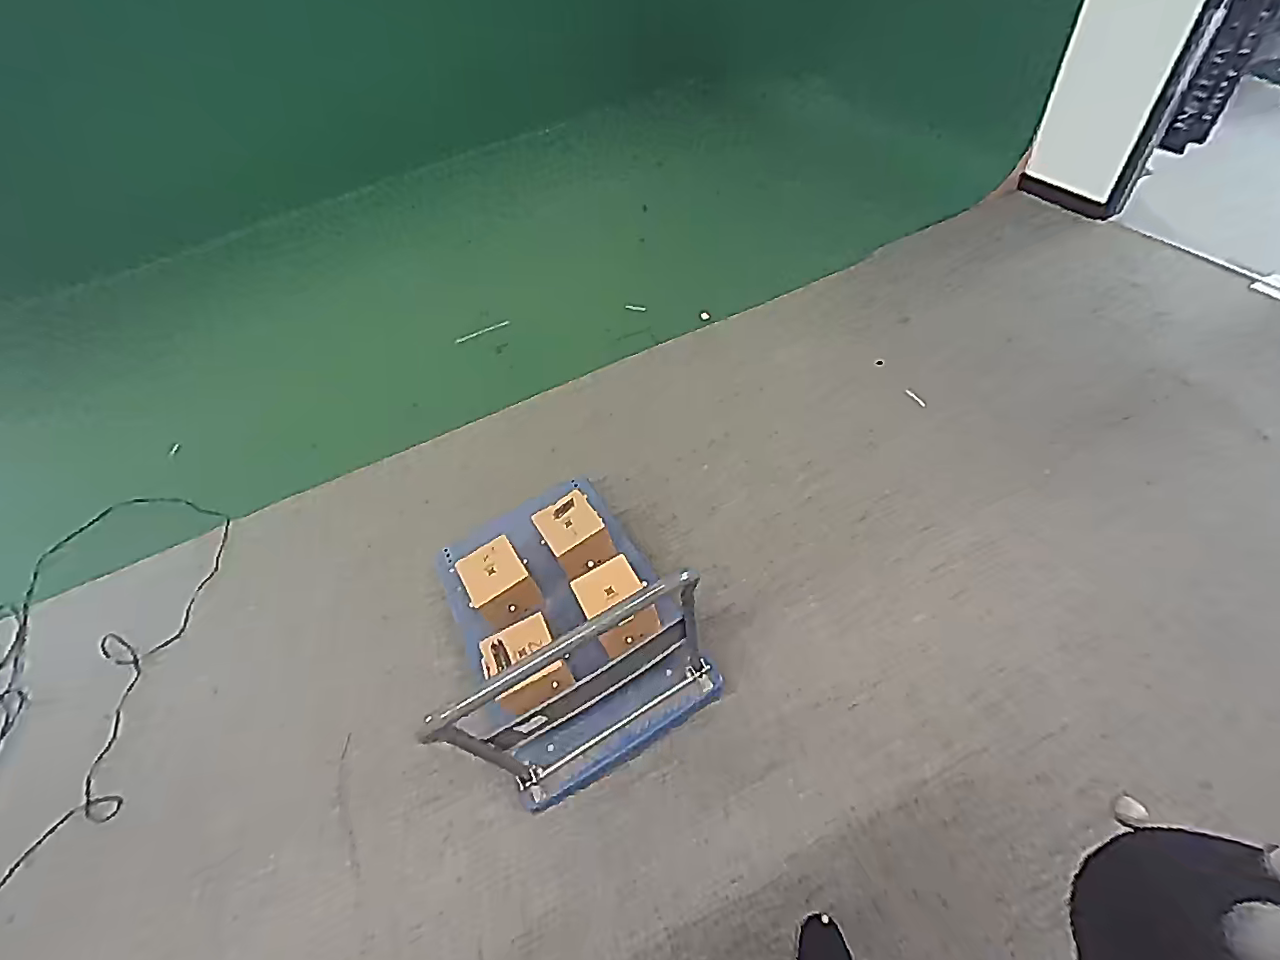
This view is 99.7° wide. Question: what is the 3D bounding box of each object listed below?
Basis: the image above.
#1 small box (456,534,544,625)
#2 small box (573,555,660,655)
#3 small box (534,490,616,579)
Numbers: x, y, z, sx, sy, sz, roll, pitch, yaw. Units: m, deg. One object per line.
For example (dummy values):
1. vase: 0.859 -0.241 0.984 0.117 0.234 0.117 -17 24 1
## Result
1. small box: -0.402 0.299 1.578 0.168 0.176 0.179 -31 53 -14
2. small box: -0.062 0.344 1.476 0.168 0.176 0.179 -28 53 -11
3. small box: -0.193 0.169 1.636 0.168 0.176 0.179 -32 54 -12
